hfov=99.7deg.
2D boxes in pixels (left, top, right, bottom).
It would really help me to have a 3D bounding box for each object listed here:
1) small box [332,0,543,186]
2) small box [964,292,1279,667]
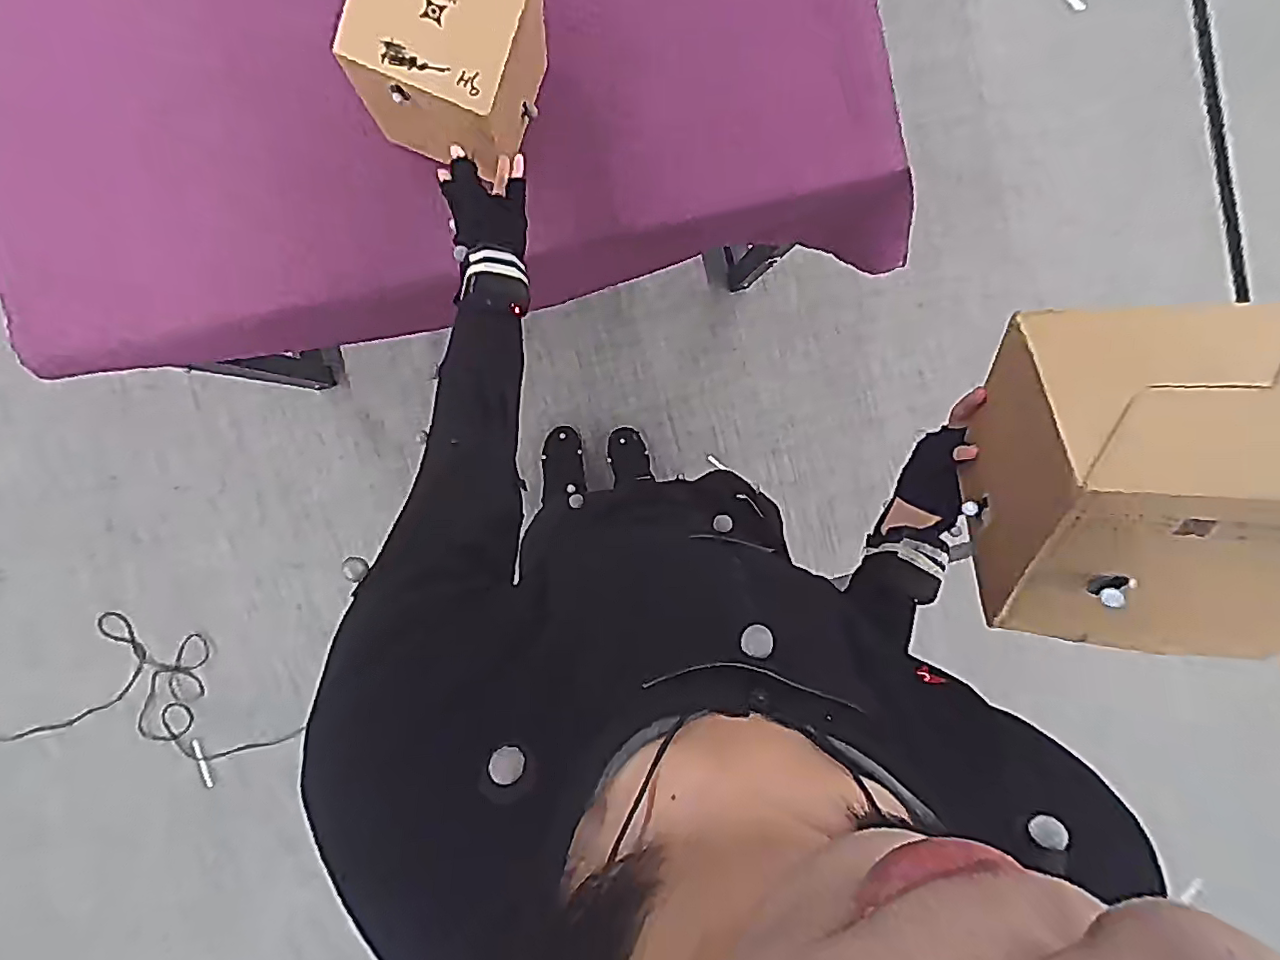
[{"bbox_3d":[-0.218,-0.491,0.633,0.168,0.176,0.179,20,91,-8],"label":"small box"},{"bbox_3d":[0.342,-0.003,0.360,0.168,0.176,0.179,4,50,15],"label":"small box"}]
